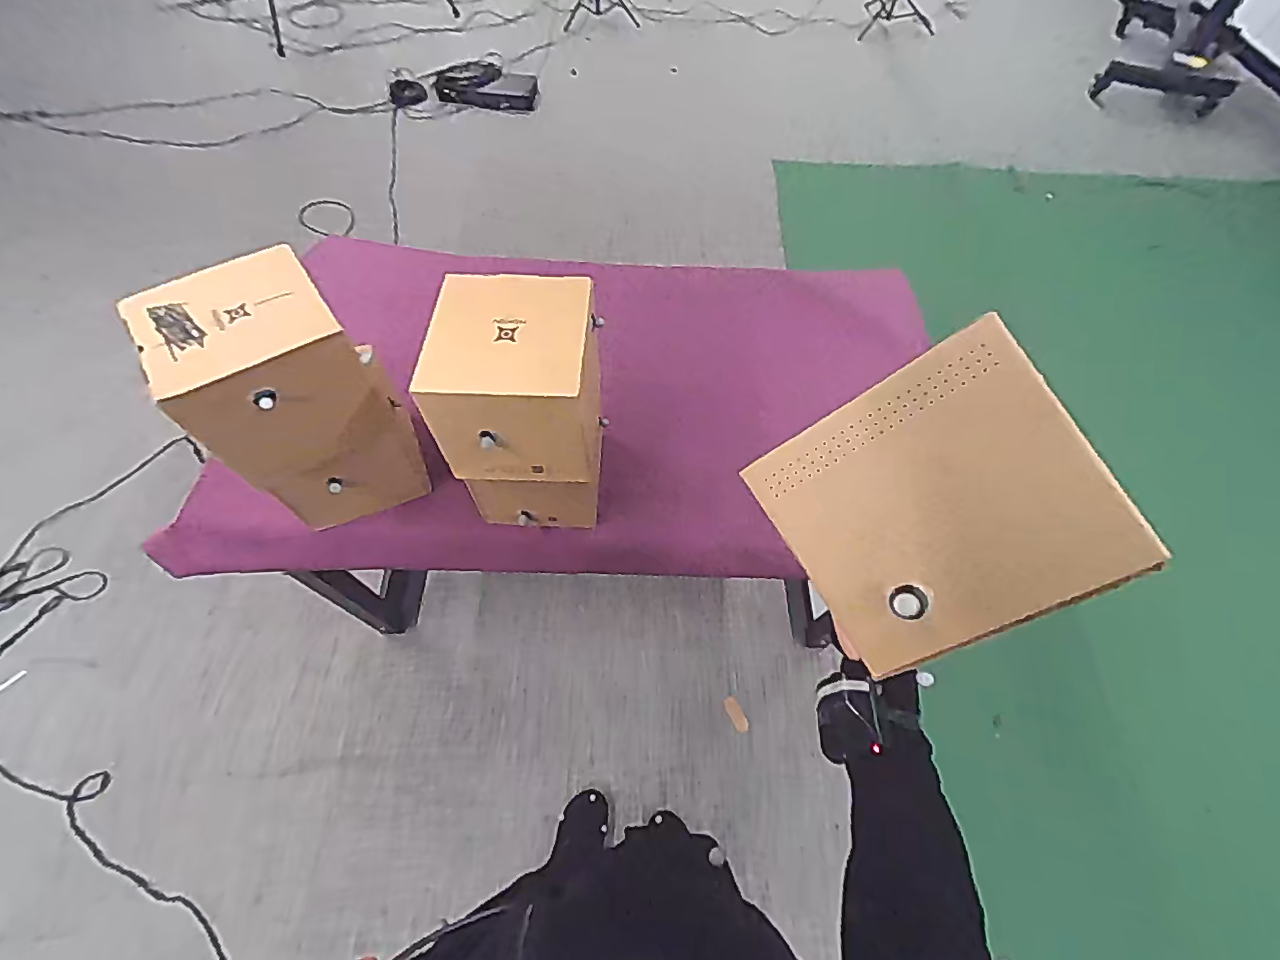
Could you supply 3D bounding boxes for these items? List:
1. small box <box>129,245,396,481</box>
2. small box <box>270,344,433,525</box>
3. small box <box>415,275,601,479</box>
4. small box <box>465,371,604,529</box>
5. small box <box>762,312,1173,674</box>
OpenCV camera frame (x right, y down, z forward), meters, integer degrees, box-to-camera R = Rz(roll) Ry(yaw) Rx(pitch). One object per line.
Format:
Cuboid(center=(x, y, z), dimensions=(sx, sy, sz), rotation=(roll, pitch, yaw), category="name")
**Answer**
Cuboid(center=(-0.418, -0.129, 0.624), dimensions=(0.179, 0.176, 0.168), rotation=(-31, 65, -20), category="small box")
Cuboid(center=(-0.422, -0.058, 0.774), dimensions=(0.179, 0.176, 0.168), rotation=(-20, 63, -13), category="small box")
Cuboid(center=(-0.135, -0.114, 0.632), dimensions=(0.168, 0.176, 0.179), rotation=(2, 58, 0), category="small box")
Cuboid(center=(-0.141, -0.047, 0.781), dimensions=(0.168, 0.176, 0.179), rotation=(2, 60, 0), category="small box")
Cuboid(center=(0.208, 0.006, 0.402), dimensions=(0.179, 0.168, 0.176), rotation=(-34, 85, 23), category="small box")
